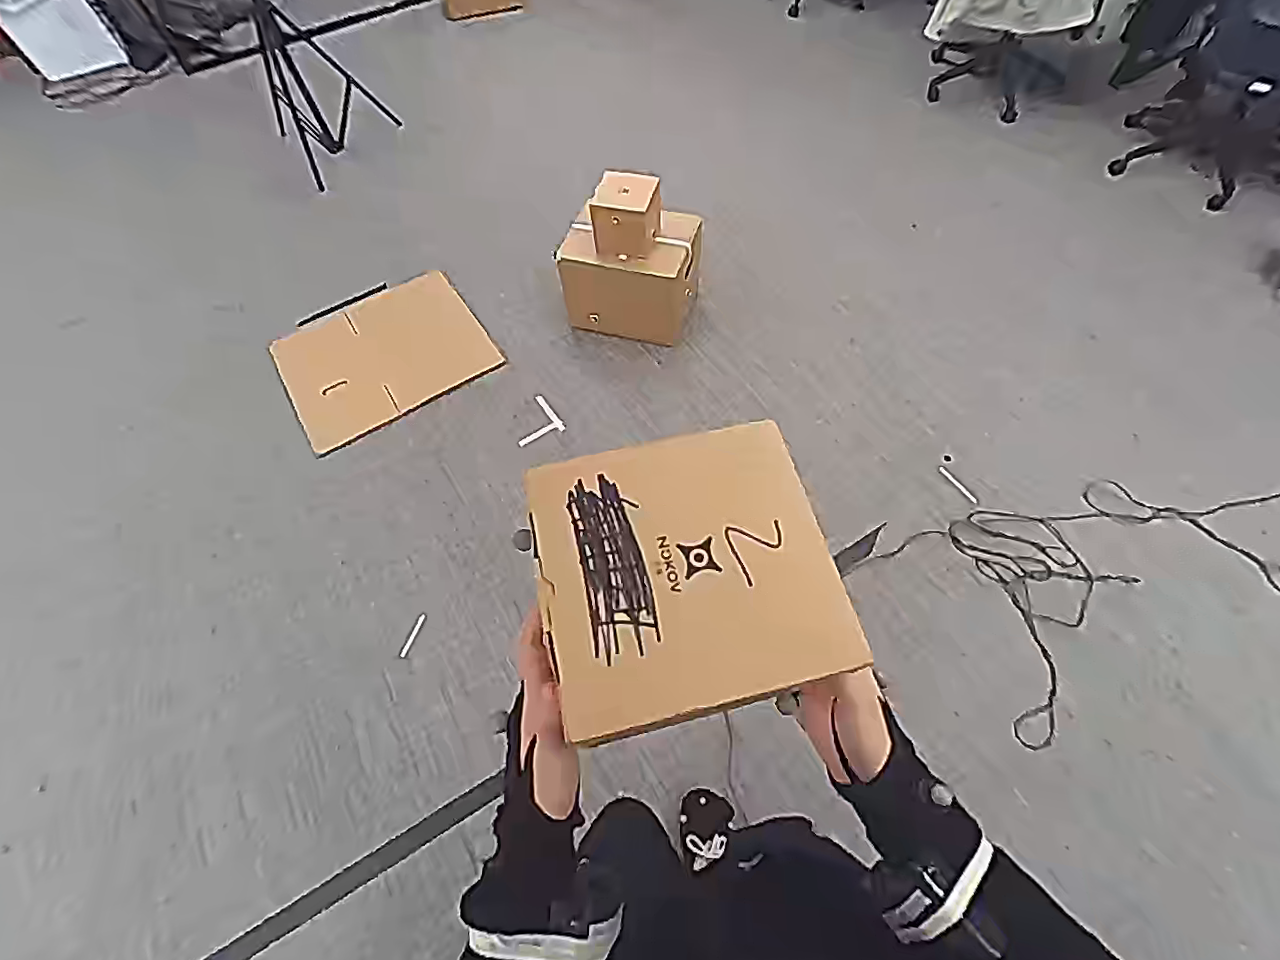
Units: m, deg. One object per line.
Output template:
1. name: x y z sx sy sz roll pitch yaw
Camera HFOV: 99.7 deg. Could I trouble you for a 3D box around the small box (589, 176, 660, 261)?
1. small box: -0.041 -0.808 1.681 0.179 0.176 0.168 13 64 9
